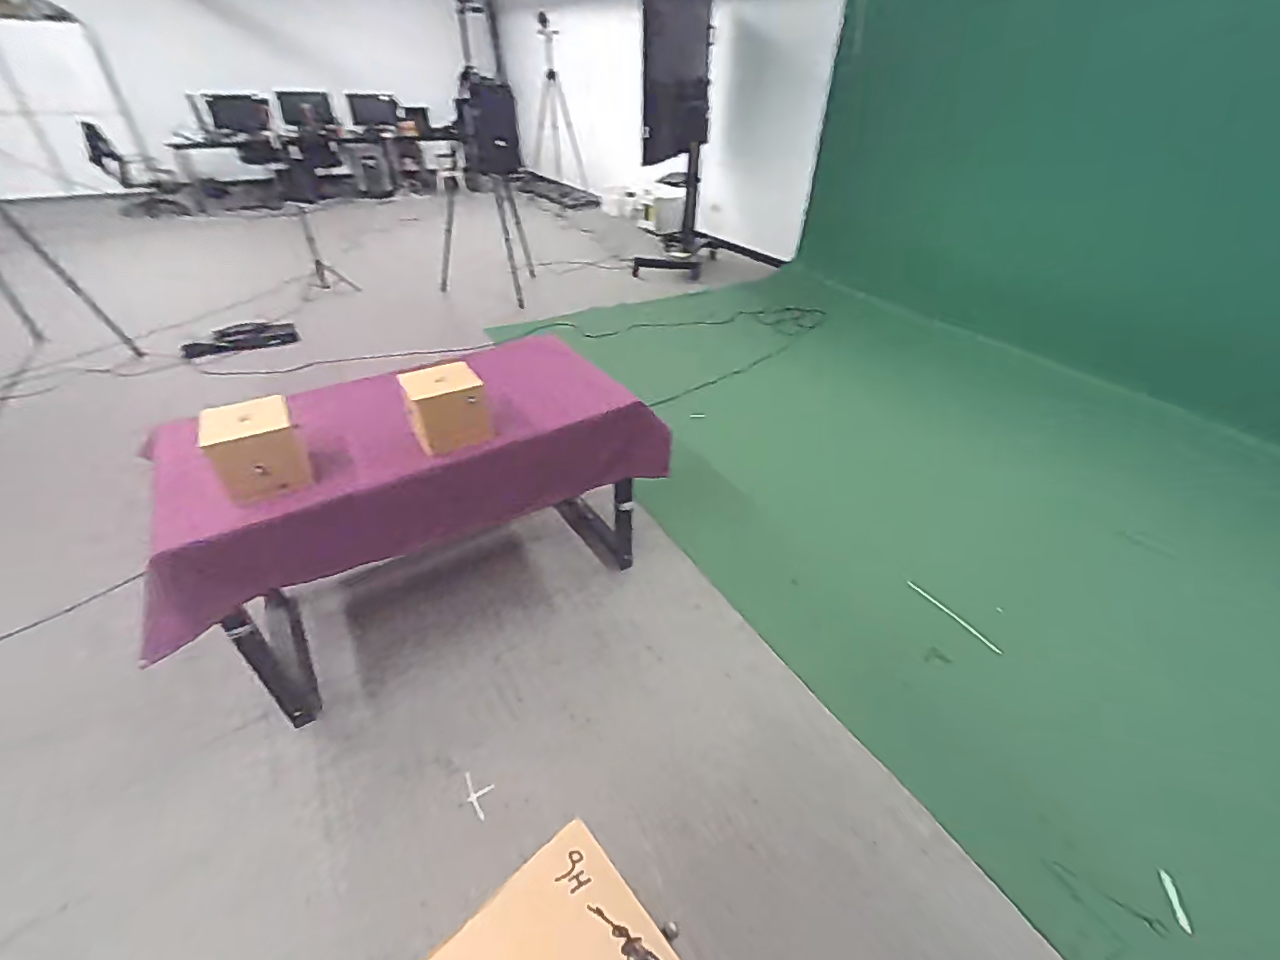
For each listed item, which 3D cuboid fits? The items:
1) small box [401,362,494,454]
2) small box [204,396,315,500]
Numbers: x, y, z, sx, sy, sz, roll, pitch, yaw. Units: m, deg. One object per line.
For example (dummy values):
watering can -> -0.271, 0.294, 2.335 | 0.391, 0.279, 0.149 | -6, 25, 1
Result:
small box -> -0.506, -0.190, 1.429 | 0.179, 0.176, 0.168 | -20, 42, -26
small box -> -0.880, -0.070, 1.261 | 0.168, 0.176, 0.179 | -19, 41, -25
